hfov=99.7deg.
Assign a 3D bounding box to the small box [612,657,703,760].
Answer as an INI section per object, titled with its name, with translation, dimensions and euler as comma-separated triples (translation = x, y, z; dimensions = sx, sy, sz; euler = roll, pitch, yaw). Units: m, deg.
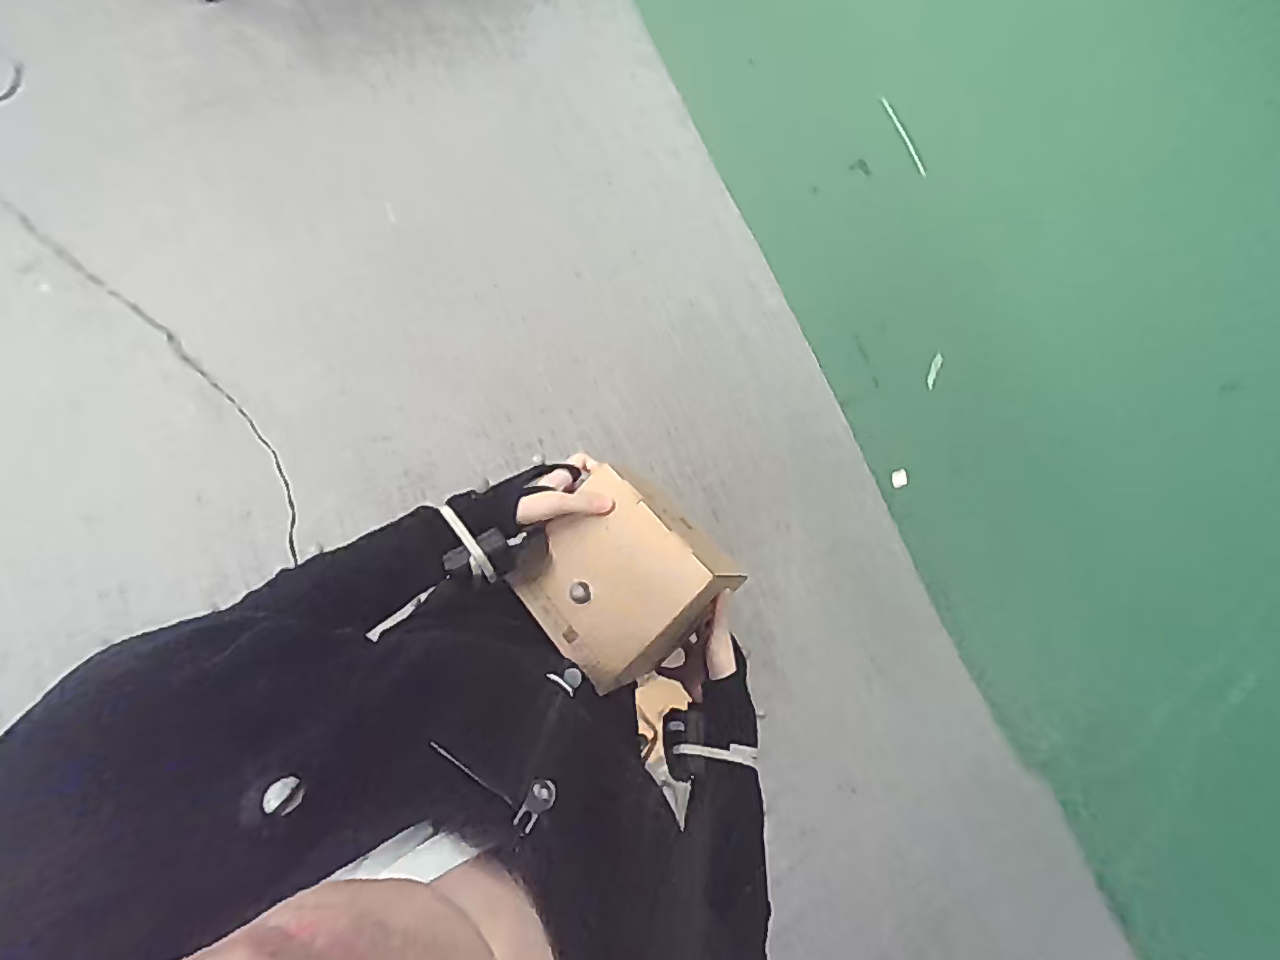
[small box]
translation = 0.038, 0.584, 1.407
dimensions = 0.179, 0.176, 0.168
euler = -27, 85, -10
